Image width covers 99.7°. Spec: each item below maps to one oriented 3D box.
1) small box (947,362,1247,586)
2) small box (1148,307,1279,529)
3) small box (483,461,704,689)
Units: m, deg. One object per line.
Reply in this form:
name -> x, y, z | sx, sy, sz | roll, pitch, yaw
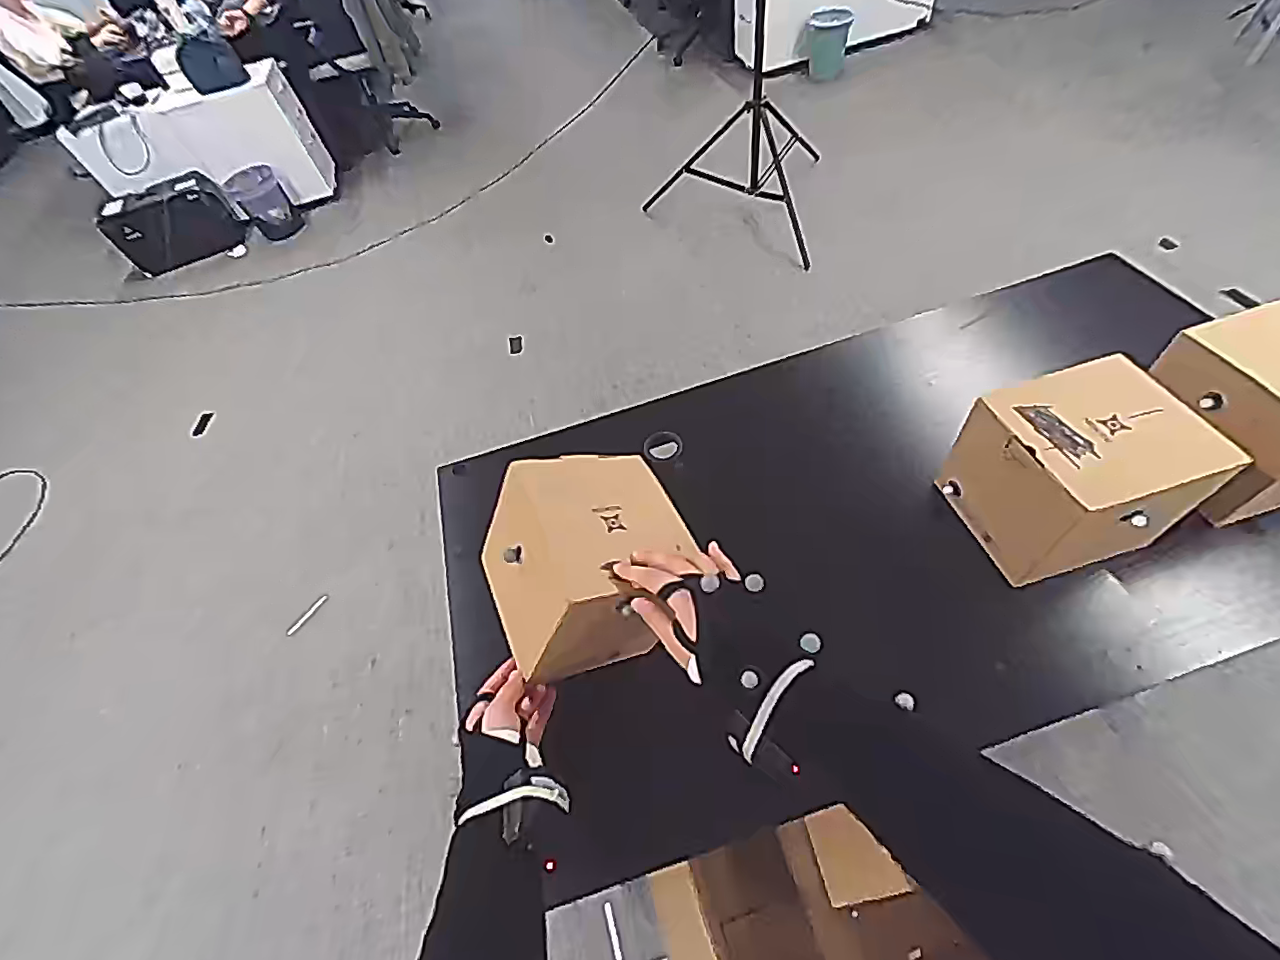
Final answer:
small box -> 0.484, 0.000, 0.618 | 0.179, 0.176, 0.168 | -16, 54, -3
small box -> 0.719, -0.073, 0.626 | 0.168, 0.176, 0.179 | -17, 53, -1
small box -> -0.065, 0.099, 0.606 | 0.168, 0.176, 0.179 | -4, 47, -33
